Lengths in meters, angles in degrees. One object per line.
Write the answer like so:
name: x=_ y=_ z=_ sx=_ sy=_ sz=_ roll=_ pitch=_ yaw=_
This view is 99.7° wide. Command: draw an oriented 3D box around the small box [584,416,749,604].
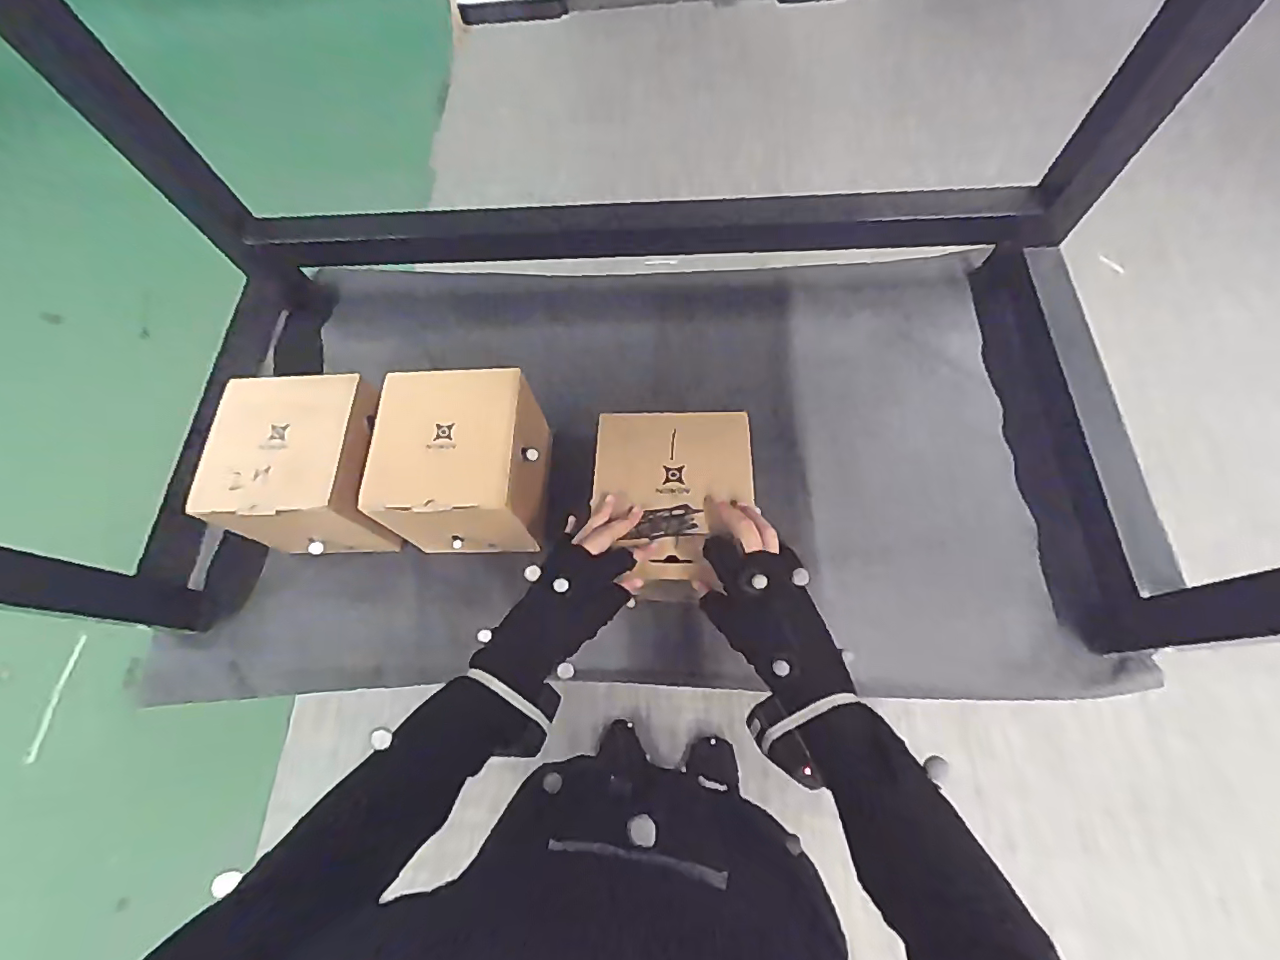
small box: x=0.036 y=0.043 z=0.631 sx=0.168 sy=0.176 sz=0.179 roll=0 pitch=65 yaw=5

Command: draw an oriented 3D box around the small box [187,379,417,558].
small box: x=-0.407 y=-0.008 z=0.690 sx=0.168 sy=0.176 sz=0.179 roll=-2 pitch=66 yaw=4
